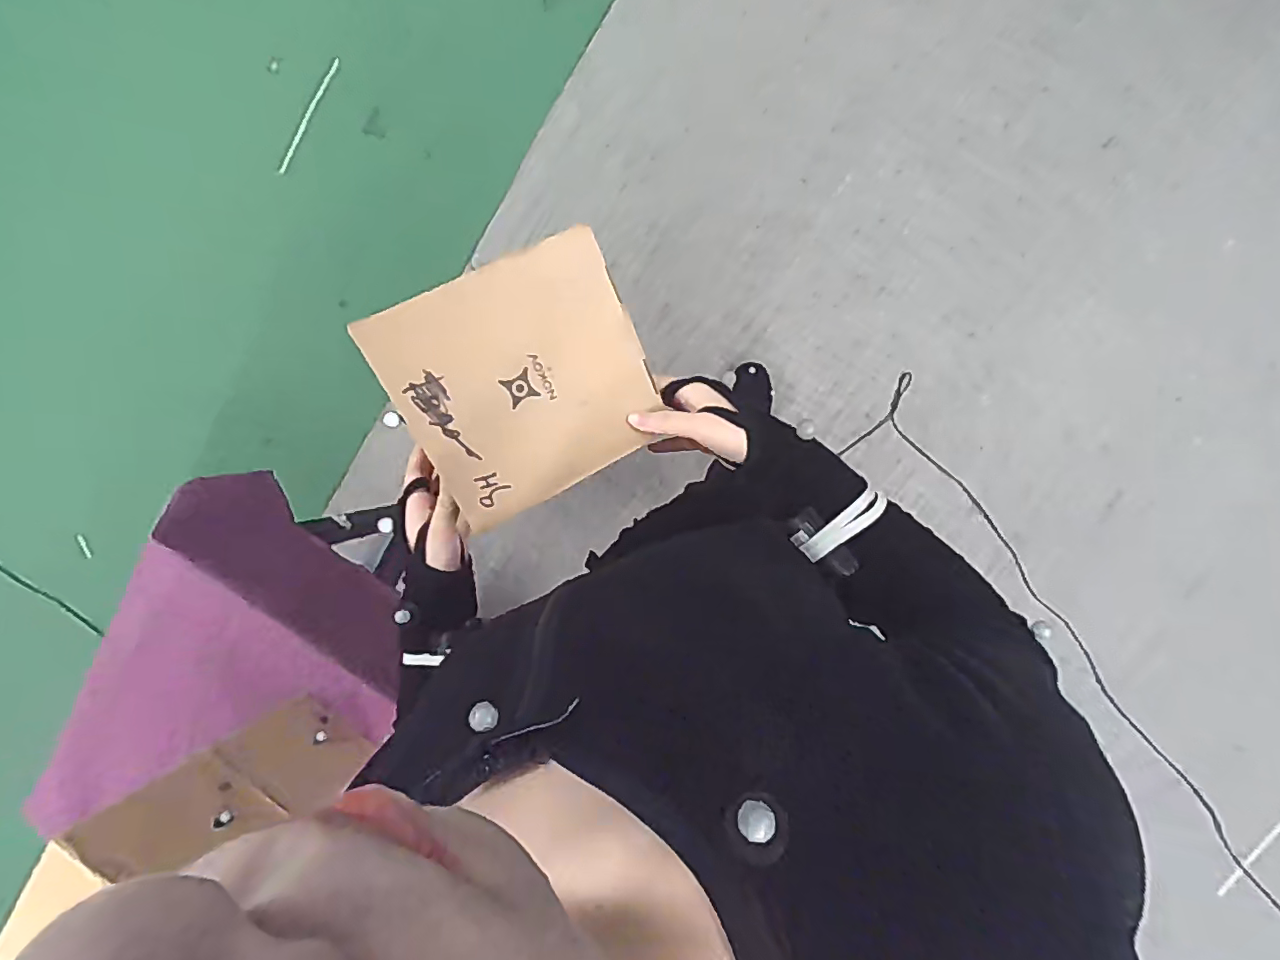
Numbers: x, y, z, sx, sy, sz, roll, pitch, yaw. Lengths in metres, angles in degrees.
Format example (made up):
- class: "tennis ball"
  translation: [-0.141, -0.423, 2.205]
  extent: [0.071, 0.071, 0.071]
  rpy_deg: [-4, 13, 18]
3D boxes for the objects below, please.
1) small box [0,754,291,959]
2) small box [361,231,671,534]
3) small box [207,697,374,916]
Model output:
- class: "small box"
  translation: [-0.564, 0.476, 0.638]
  extent: [0.168, 0.176, 0.179]
  rpy_deg: [34, 98, 5]
- class: "small box"
  translation: [-0.106, -0.087, 0.457]
  extent: [0.179, 0.176, 0.168]
  rpy_deg: [-29, 113, -13]
- class: "small box"
  translation: [-0.535, 0.465, 0.798]
  extent: [0.168, 0.176, 0.179]
  rpy_deg: [34, 98, 5]
